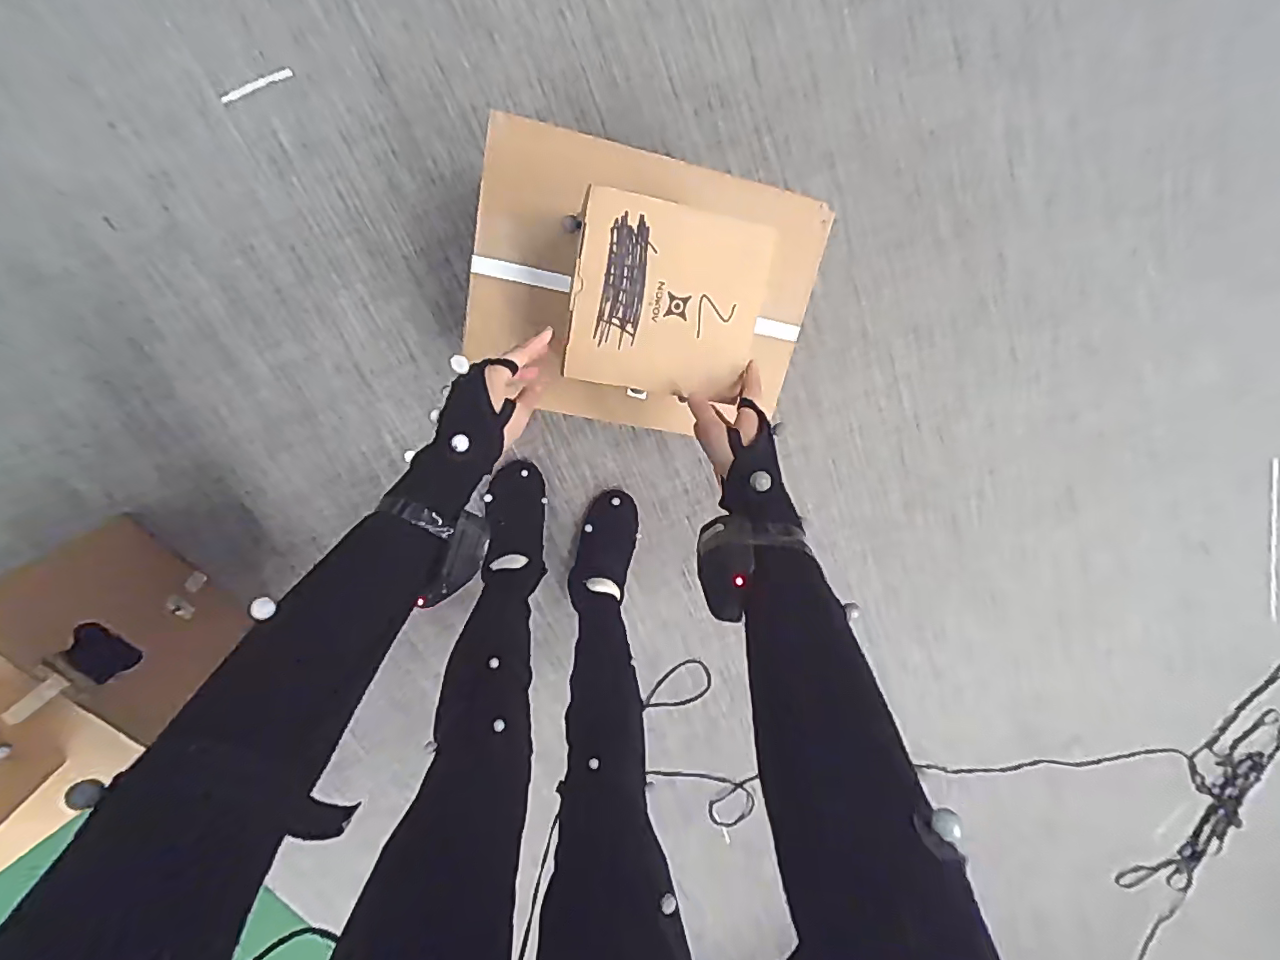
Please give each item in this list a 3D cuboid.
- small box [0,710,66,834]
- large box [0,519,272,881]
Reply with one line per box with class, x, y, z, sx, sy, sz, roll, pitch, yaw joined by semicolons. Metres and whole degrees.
small box;-0.877;0.398;0.646;0.179;0.176;0.168;-34;111;4
large box;-0.930;0.337;0.879;0.408;0.320;0.320;-36;108;6
